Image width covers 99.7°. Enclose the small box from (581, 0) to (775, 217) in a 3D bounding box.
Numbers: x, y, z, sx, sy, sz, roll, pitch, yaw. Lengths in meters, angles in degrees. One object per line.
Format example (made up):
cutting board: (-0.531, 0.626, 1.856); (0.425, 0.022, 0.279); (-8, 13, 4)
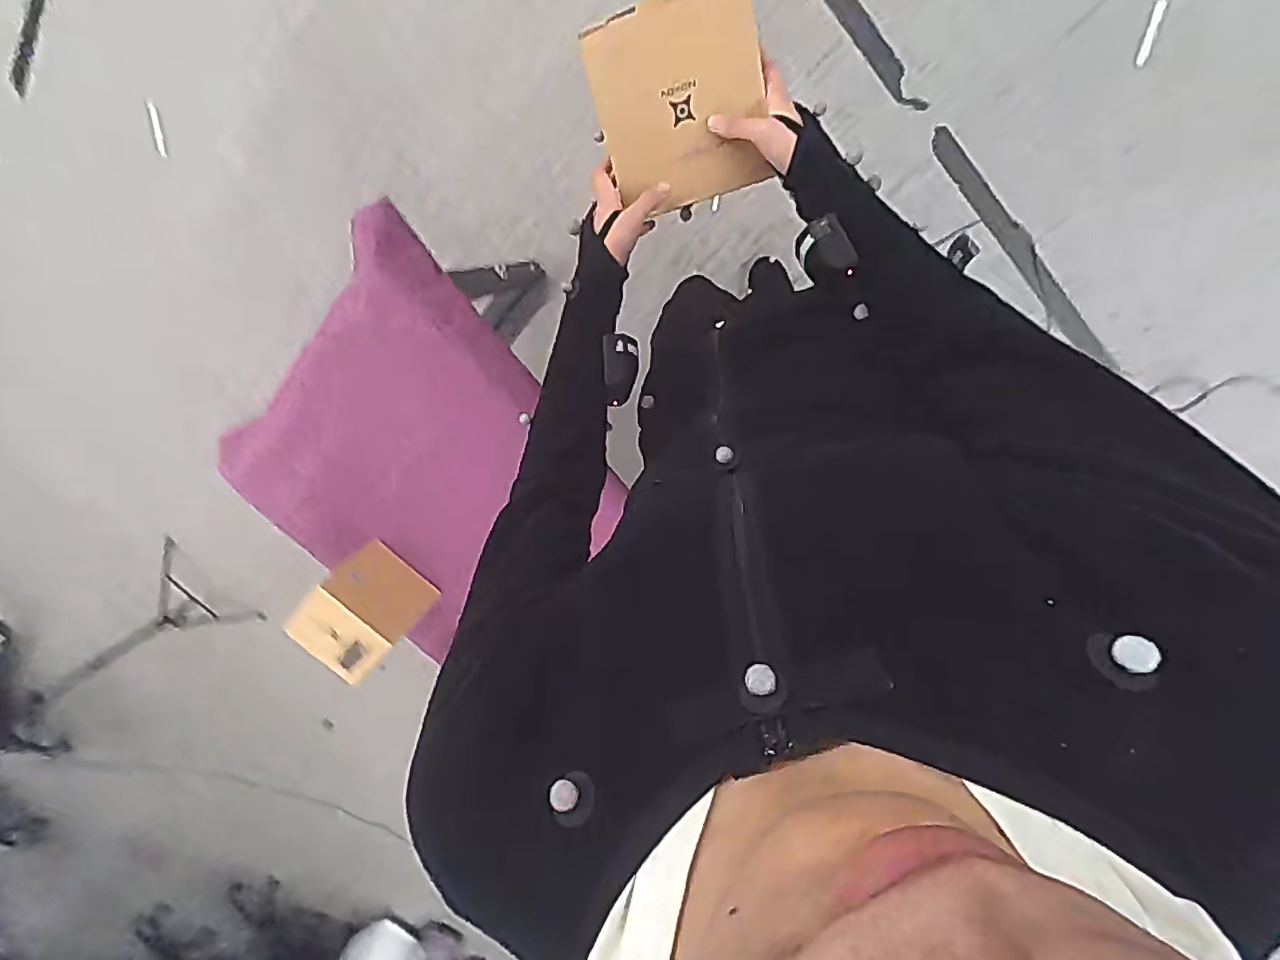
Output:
small box: (0.044, -0.408, 0.605); (0.168, 0.176, 0.179); (-12, 116, 10)
